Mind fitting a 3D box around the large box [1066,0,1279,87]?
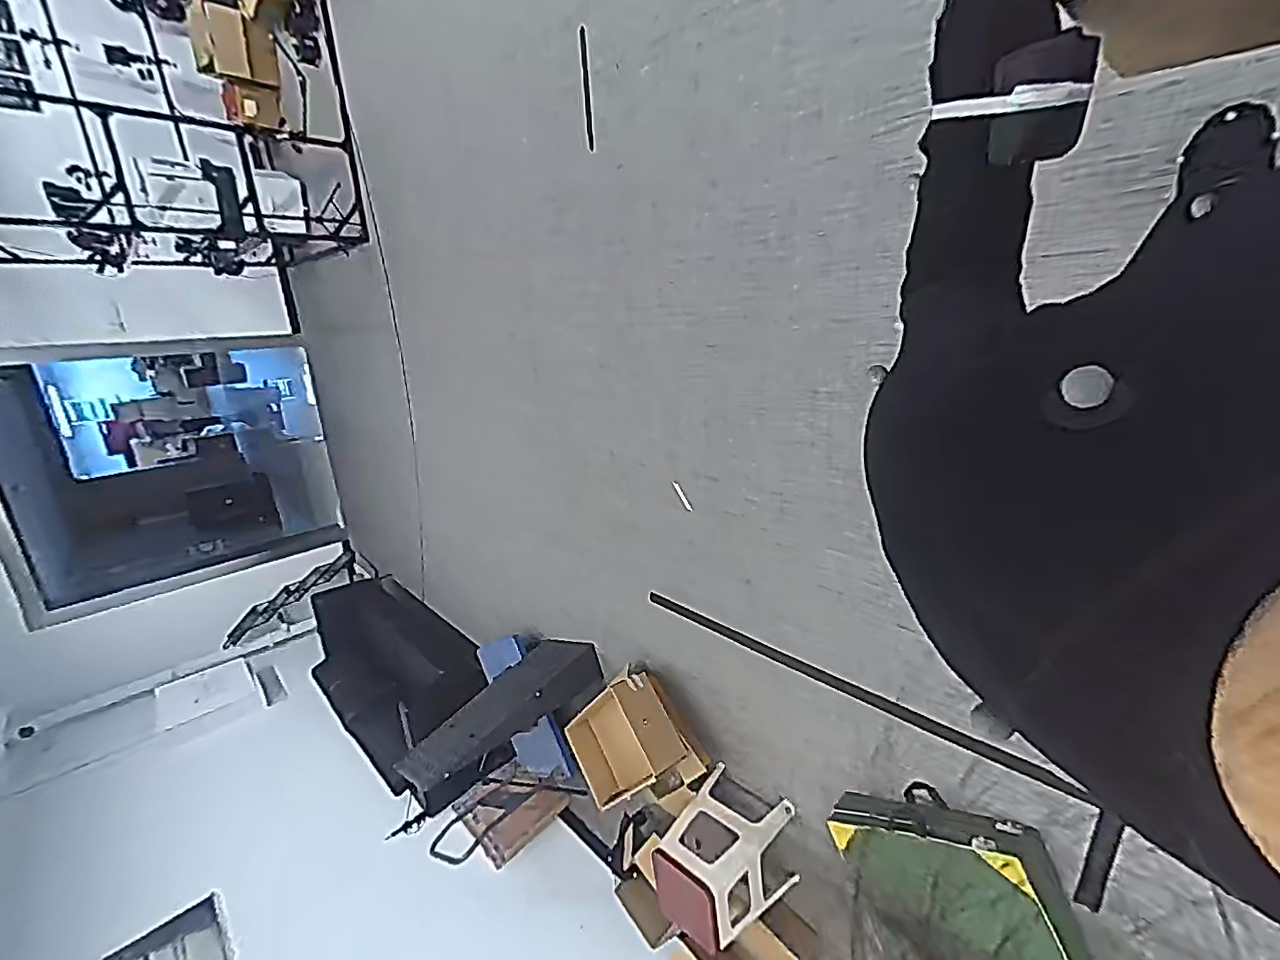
[{"bbox_3d":[0.476,-0.431,0.232,0.408,0.320,0.320,16,119,42],"label":"large box"}]
